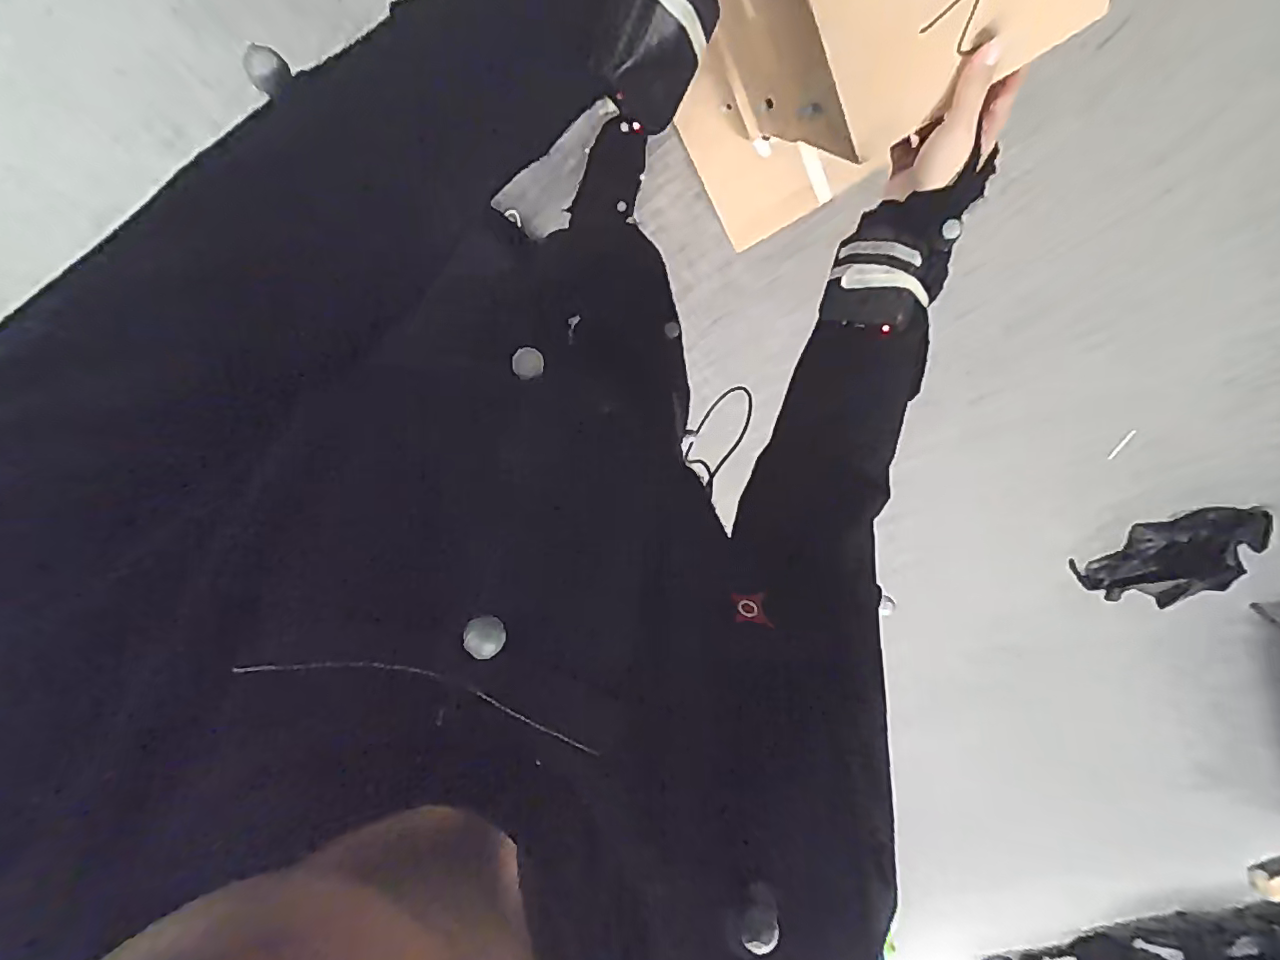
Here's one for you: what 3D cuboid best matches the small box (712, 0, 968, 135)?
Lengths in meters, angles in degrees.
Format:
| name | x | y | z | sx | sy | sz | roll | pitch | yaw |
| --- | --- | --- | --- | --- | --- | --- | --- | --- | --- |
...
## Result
| name | x | y | z | sx | sy | sz | roll | pitch | yaw |
| --- | --- | --- | --- | --- | --- | --- | --- | --- | --- |
| small box | 0.174 | -0.469 | 0.519 | 0.168 | 0.176 | 0.179 | -27 | 123 | 17 |

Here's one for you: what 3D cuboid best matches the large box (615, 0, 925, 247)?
| name | x | y | z | sx | sy | sz | roll | pitch | yaw |
| --- | --- | --- | --- | --- | --- | --- | --- | --- | --- |
| large box | 0.190 | -0.673 | 0.870 | 0.320 | 0.320 | 0.408 | -26 | 124 | 19 |

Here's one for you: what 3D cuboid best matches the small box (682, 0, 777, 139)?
| name | x | y | z | sx | sy | sz | roll | pitch | yaw |
| --- | --- | --- | --- | --- | --- | --- | --- | --- | --- |
| small box | 0.163 | -0.555 | 0.657 | 0.168 | 0.176 | 0.179 | -26 | 121 | 17 |
